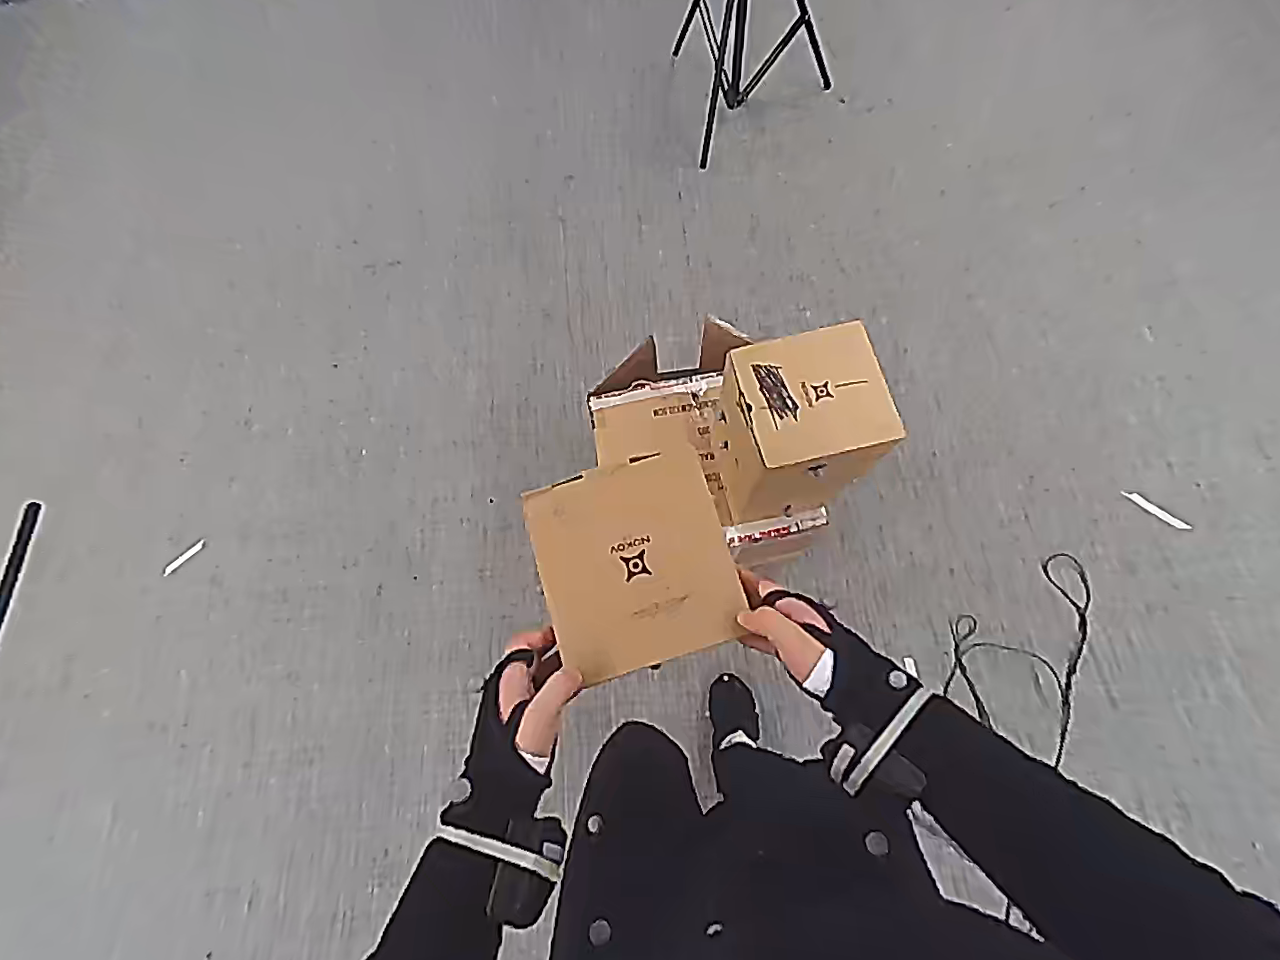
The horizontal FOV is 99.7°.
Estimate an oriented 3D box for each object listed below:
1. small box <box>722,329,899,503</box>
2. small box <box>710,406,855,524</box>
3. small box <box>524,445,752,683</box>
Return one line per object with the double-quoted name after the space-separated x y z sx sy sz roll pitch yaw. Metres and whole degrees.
0.216 -0.077 0.745 0.179 0.176 0.168 -13 74 -1 "small box"
0.226 -0.036 0.905 0.179 0.176 0.168 -13 73 -1 "small box"
-0.004 0.087 0.557 0.168 0.176 0.179 -18 79 -2 "small box"
